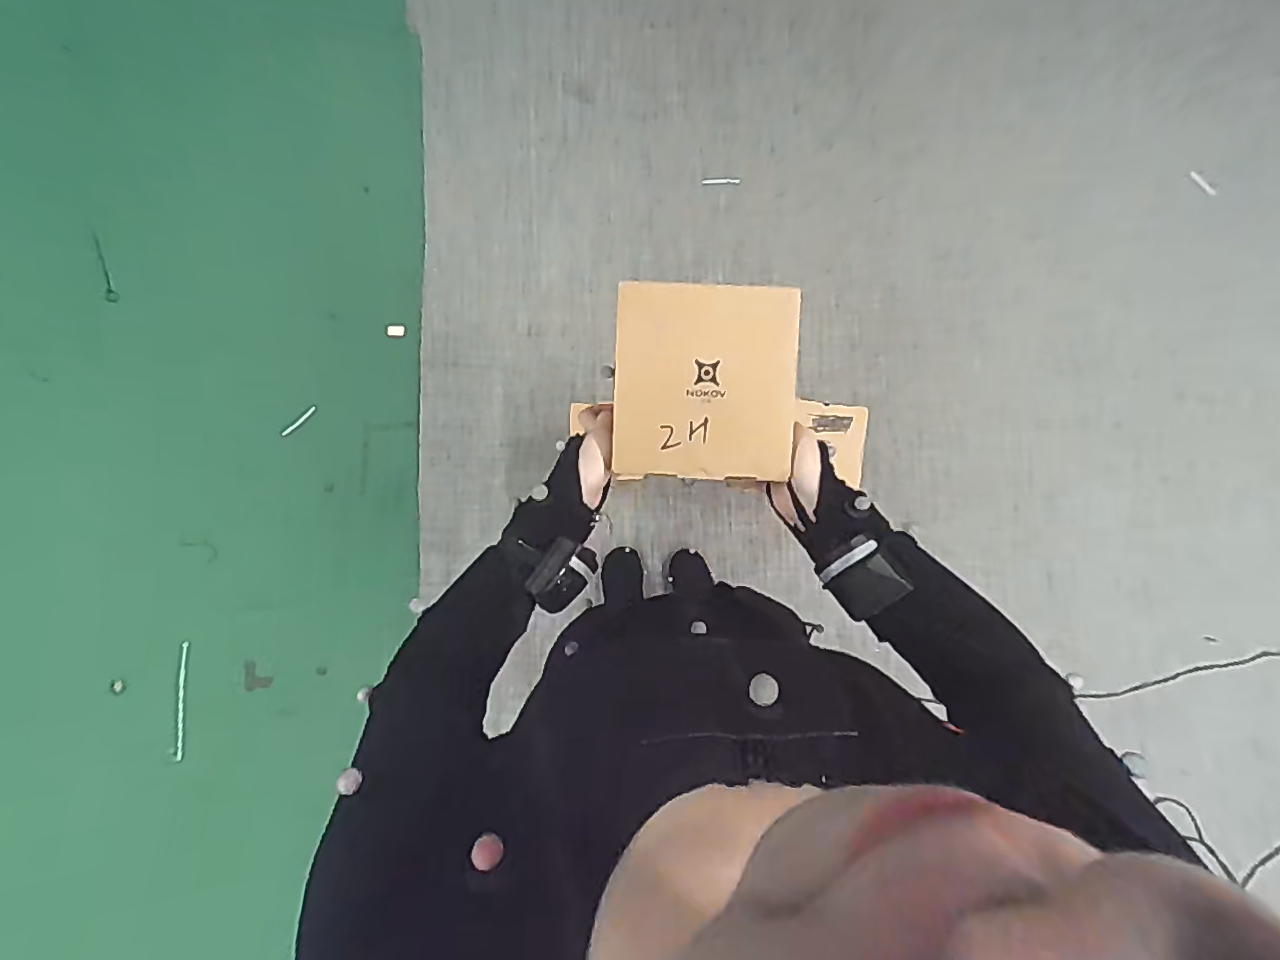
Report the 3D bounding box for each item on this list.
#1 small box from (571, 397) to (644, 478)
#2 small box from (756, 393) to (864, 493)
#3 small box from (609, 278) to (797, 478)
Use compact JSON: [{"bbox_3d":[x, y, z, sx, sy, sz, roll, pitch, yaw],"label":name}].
[{"bbox_3d":[-0.073,-0.097,1.291,0.168,0.176,0.179,-1,88,1],"label":"small box"},{"bbox_3d":[0.344,-0.071,1.125,0.168,0.176,0.179,8,89,0],"label":"small box"},{"bbox_3d":[0.056,-0.099,0.574,0.168,0.176,0.179,3,96,0],"label":"small box"}]
